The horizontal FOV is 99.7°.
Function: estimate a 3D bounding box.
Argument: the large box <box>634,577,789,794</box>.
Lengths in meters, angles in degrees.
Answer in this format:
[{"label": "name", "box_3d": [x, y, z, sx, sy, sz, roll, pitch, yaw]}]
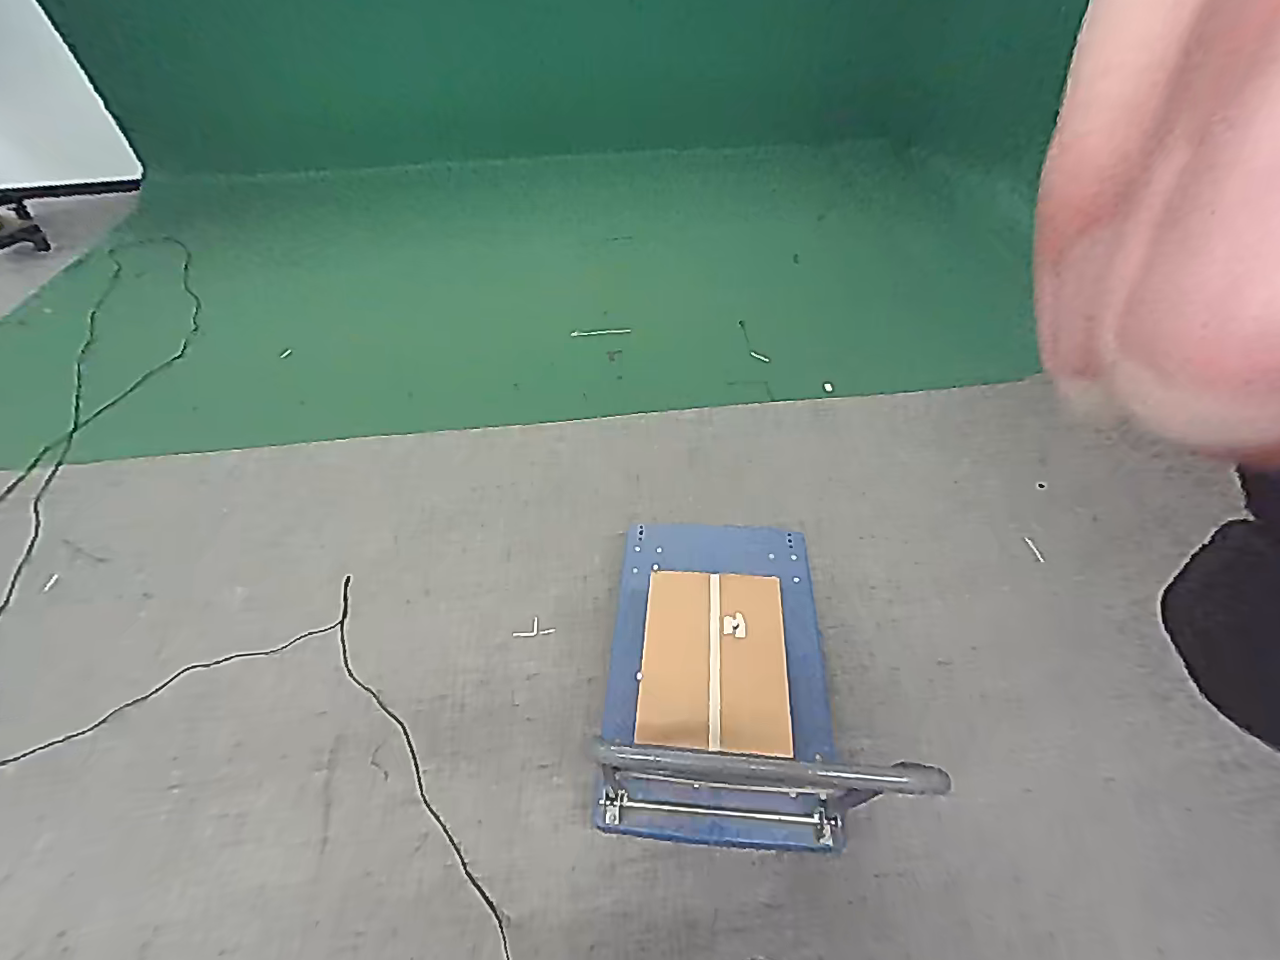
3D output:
[{"label": "large box", "box_3d": [0.161, 0.493, 1.308, 0.320, 0.320, 0.408, 3, 47, 4]}]
